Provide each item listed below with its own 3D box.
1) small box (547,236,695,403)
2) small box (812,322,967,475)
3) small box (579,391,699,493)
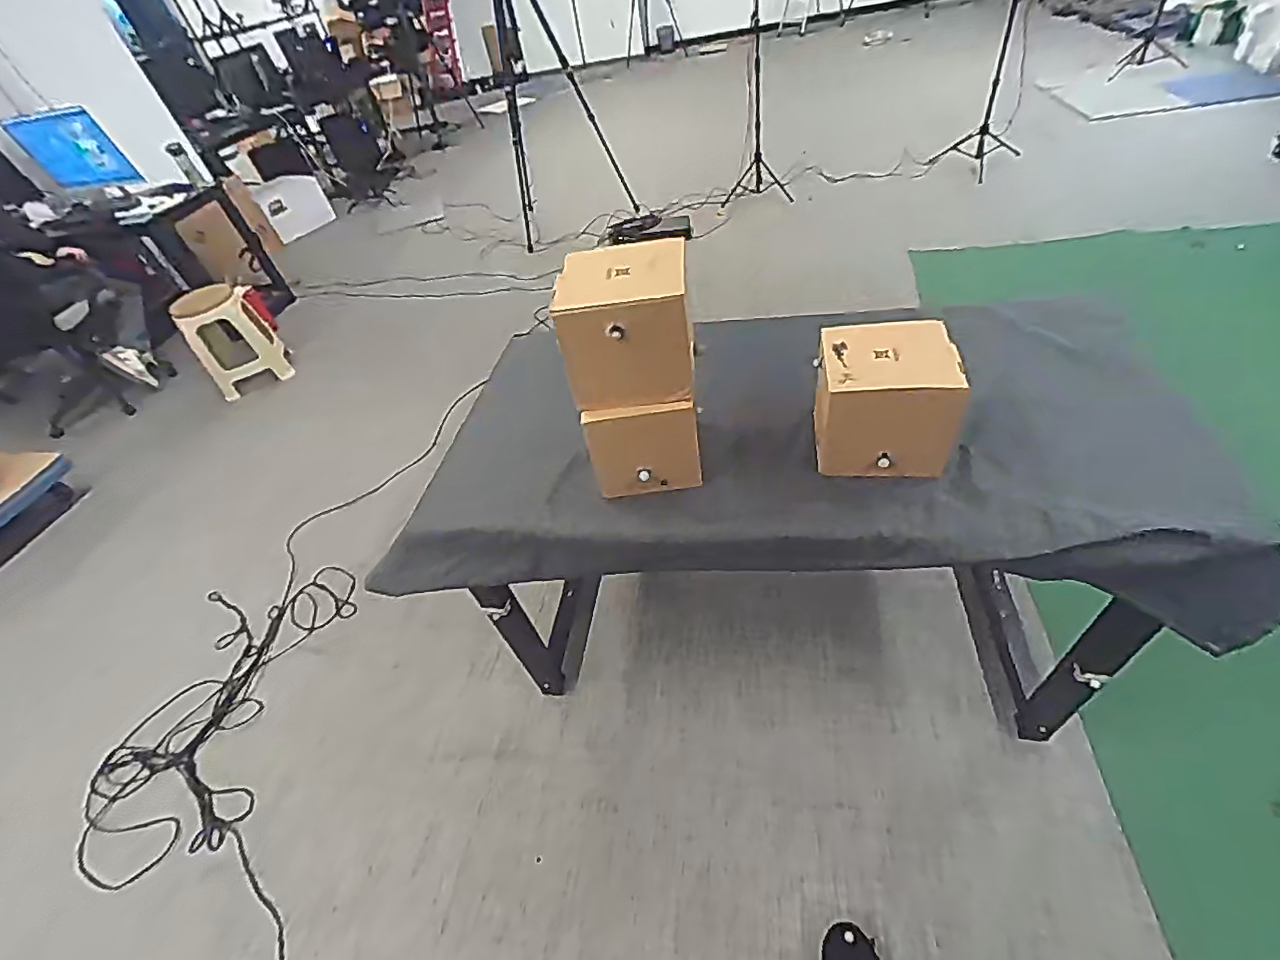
[{"bbox_3d":[-0.016,-0.224,0.775,0.179,0.176,0.168,-4,47,8],"label":"small box"},{"bbox_3d":[0.362,-0.122,0.822,0.179,0.176,0.168,1,47,13],"label":"small box"},{"bbox_3d":[0.004,-0.101,0.881,0.168,0.176,0.179,-7,46,6],"label":"small box"}]
